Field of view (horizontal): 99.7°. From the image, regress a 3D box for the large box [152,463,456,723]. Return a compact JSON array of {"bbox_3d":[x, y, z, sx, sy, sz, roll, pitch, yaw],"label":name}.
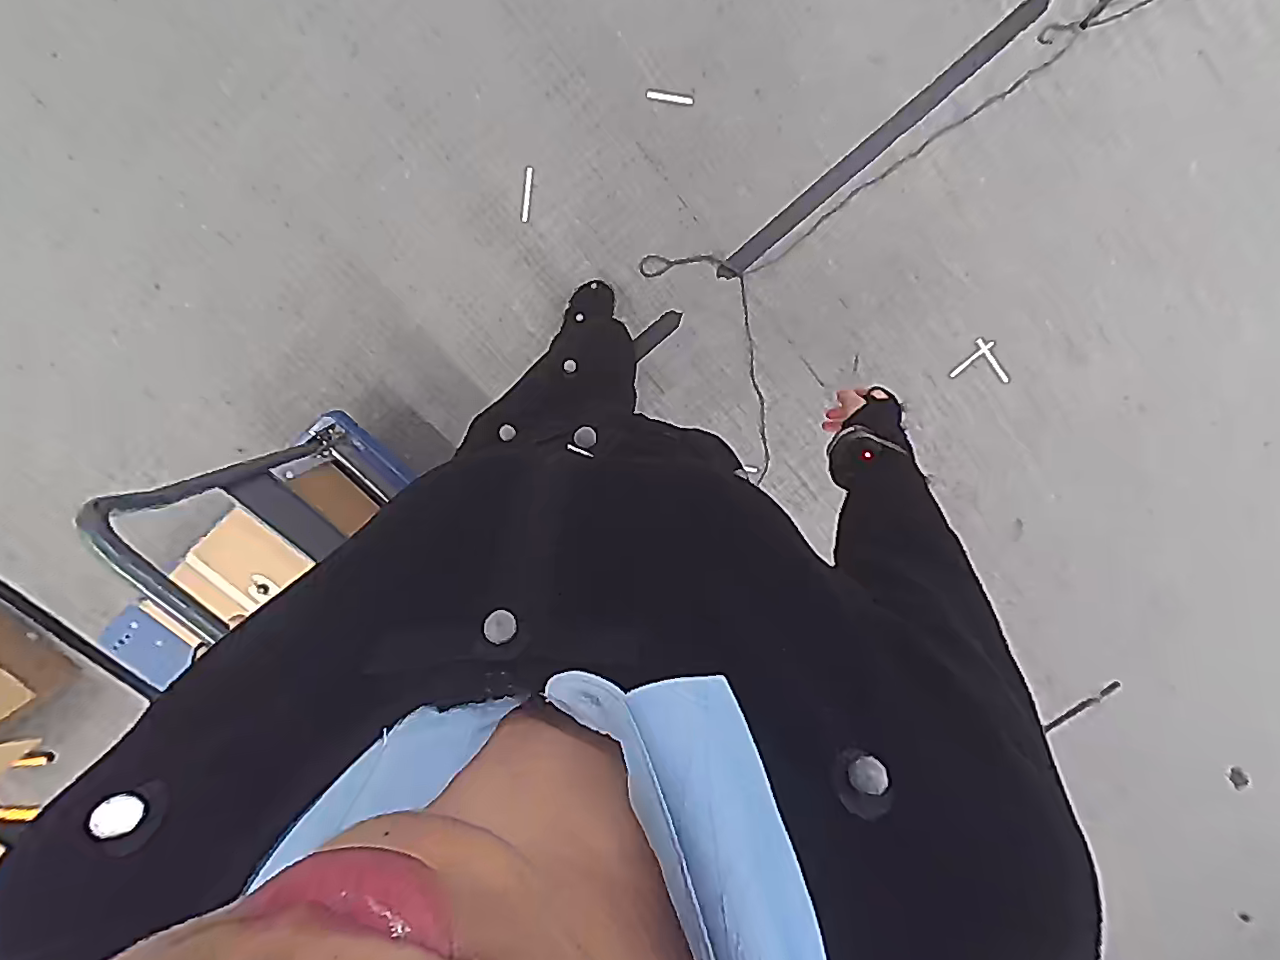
[{"bbox_3d":[-0.692,0.230,1.193,0.320,0.320,0.408,-41,103,7],"label":"large box"}]
